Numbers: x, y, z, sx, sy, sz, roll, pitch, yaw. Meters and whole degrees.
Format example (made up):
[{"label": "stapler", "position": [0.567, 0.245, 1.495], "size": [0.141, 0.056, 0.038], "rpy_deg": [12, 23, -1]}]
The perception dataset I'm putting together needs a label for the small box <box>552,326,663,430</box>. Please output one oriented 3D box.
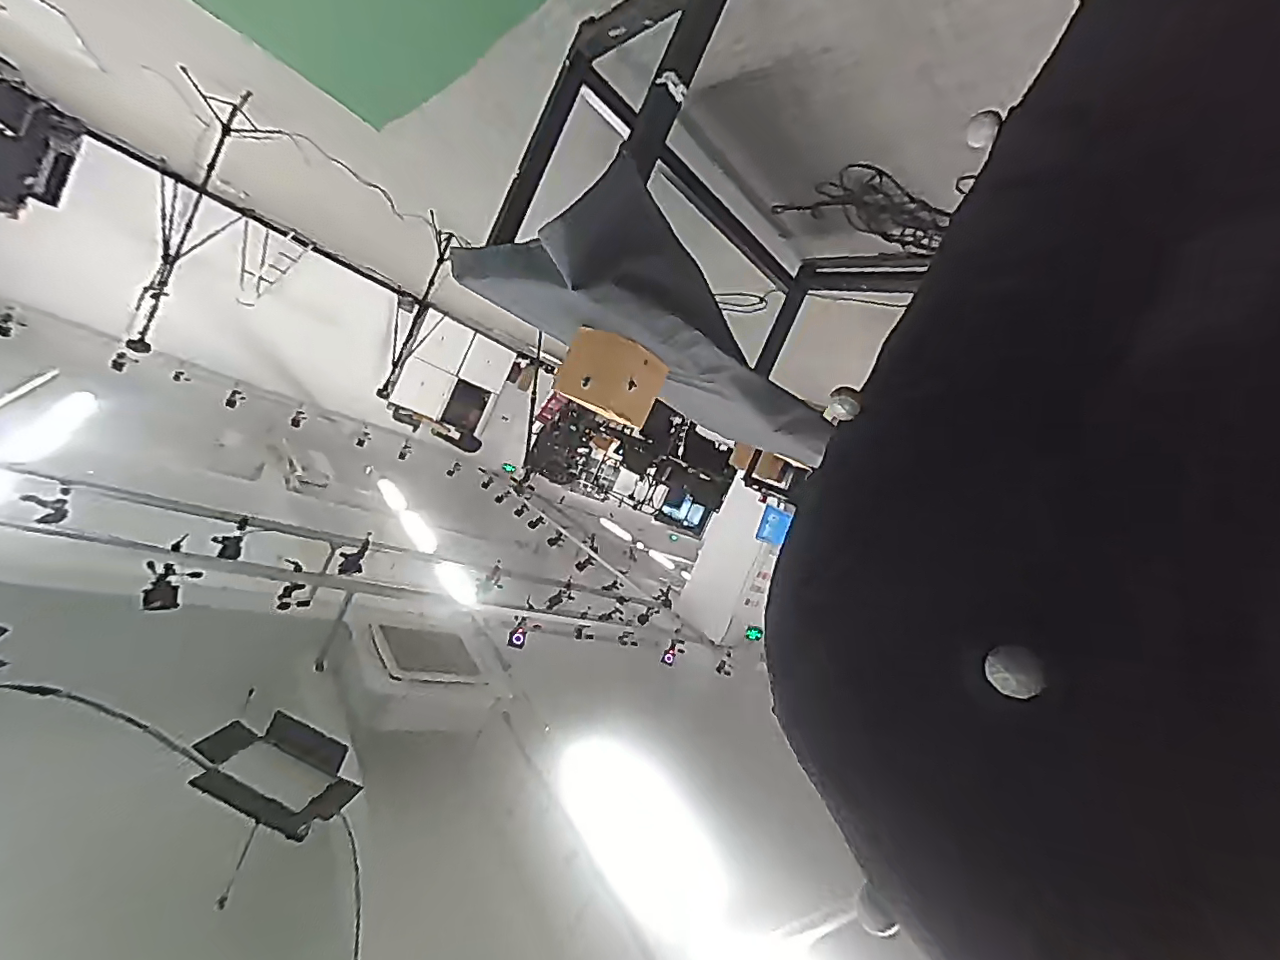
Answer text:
[{"label": "small box", "position": [-0.067, -0.242, 1.269], "size": [0.179, 0.176, 0.168], "rpy_deg": [27, -178, 31]}]
